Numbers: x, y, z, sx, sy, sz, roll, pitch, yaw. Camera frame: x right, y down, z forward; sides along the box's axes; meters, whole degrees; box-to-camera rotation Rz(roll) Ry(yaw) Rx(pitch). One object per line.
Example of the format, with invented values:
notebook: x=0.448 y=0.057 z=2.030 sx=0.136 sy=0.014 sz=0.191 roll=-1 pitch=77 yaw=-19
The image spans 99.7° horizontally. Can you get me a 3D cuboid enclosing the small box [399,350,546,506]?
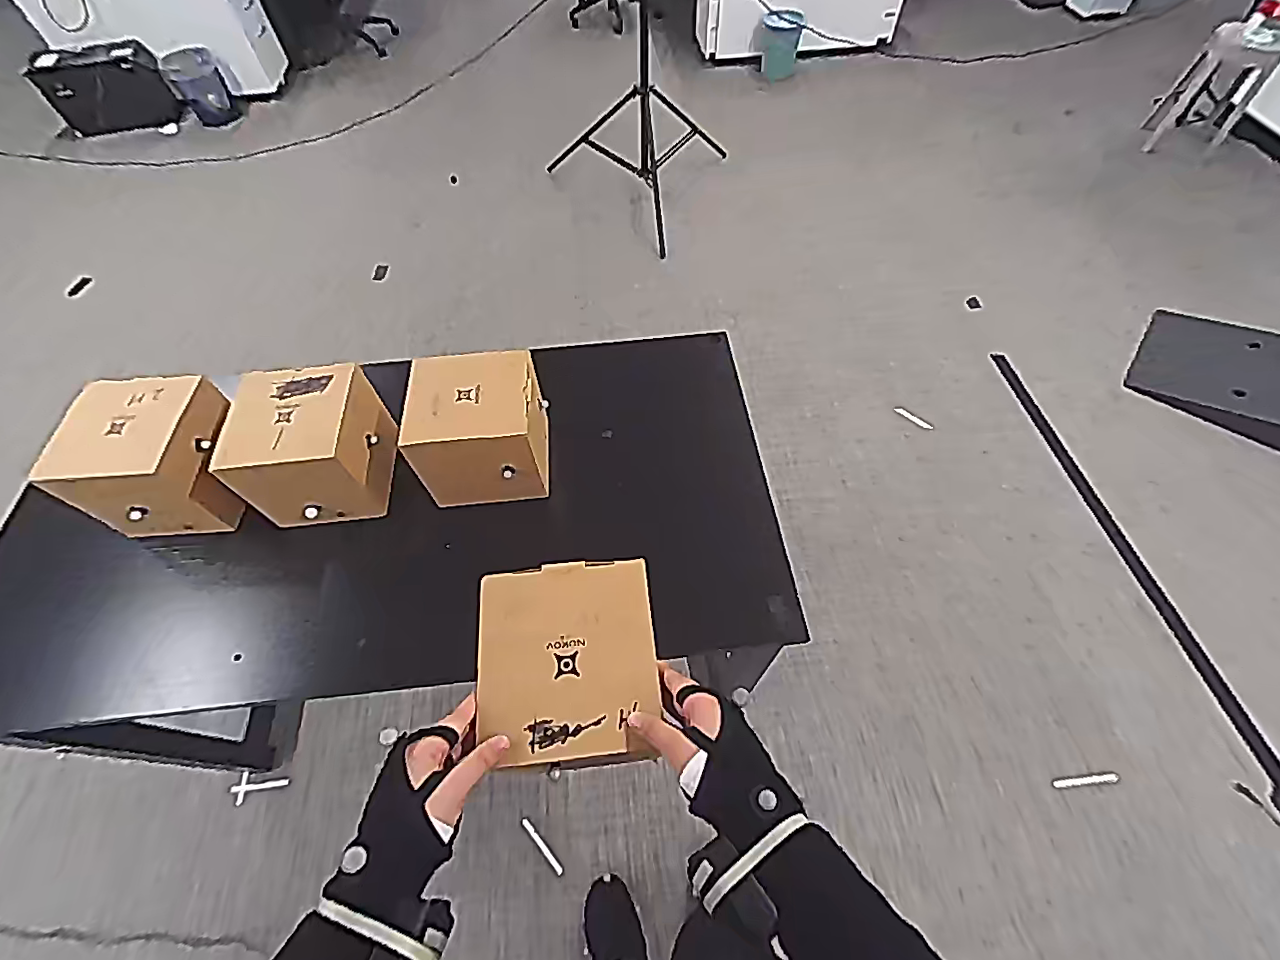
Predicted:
small box: x=-0.243 y=-0.075 z=0.836 sx=0.179 sy=0.176 sz=0.168 roll=-7 pitch=56 yaw=-1

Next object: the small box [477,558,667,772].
small box: x=-0.066 y=0.201 z=0.573 sx=0.168 sy=0.176 sz=0.179 roll=-6 pitch=61 yaw=-2

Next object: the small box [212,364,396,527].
small box: x=-0.490 y=-0.049 z=0.823 sx=0.168 sy=0.176 sz=0.179 roll=-7 pitch=59 yaw=-3

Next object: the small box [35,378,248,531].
small box: x=-0.713 y=-0.030 z=0.818 sx=0.168 sy=0.176 sz=0.179 roll=-3 pitch=57 yaw=-2
